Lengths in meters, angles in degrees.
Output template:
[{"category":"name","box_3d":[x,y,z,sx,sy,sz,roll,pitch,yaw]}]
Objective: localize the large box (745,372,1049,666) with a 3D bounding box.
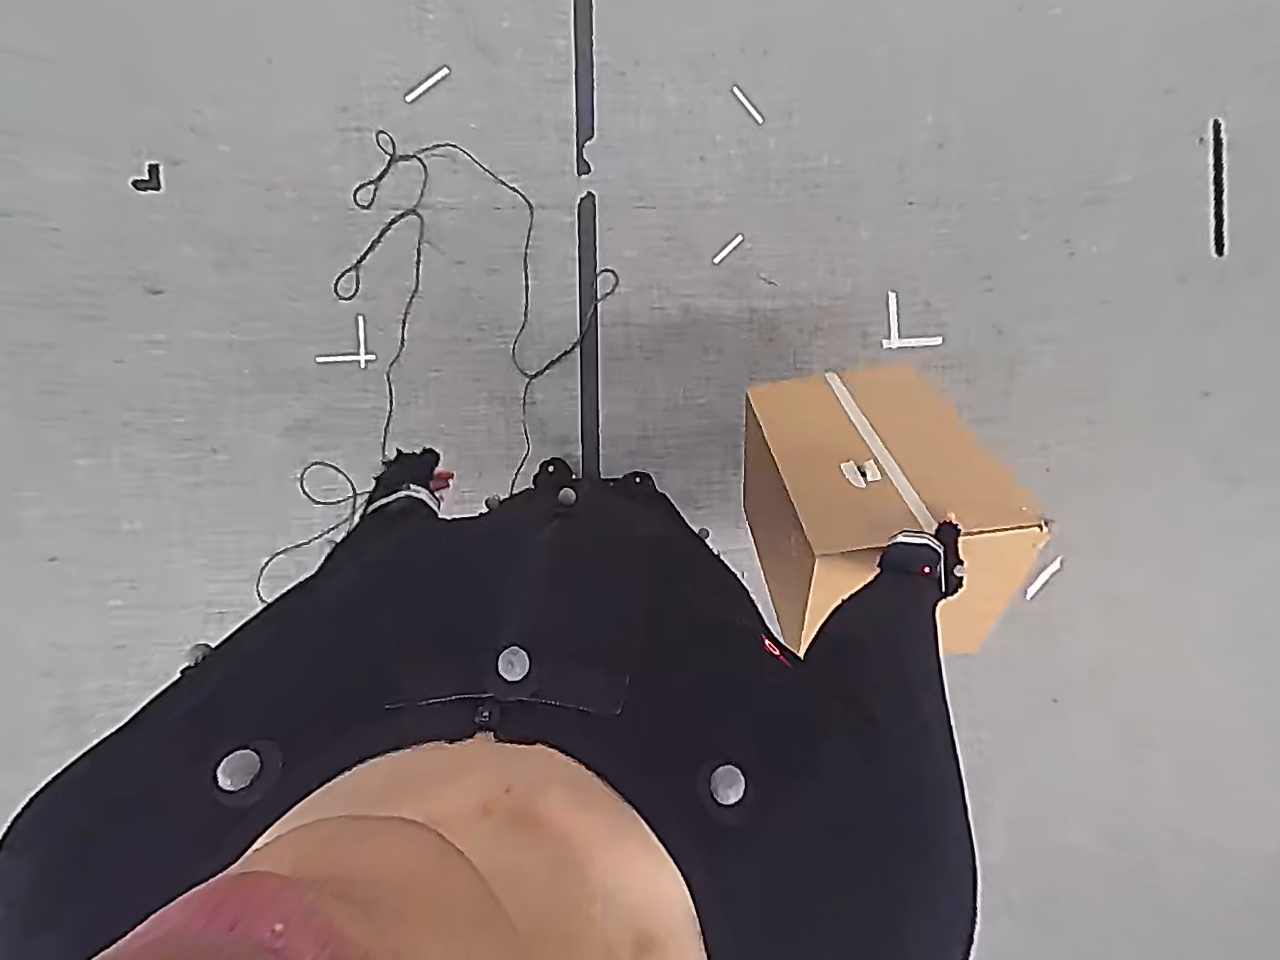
[{"category":"large box","box_3d":[0.389,0.059,0.962,0.320,0.408,0.320,-8,133,1]}]
